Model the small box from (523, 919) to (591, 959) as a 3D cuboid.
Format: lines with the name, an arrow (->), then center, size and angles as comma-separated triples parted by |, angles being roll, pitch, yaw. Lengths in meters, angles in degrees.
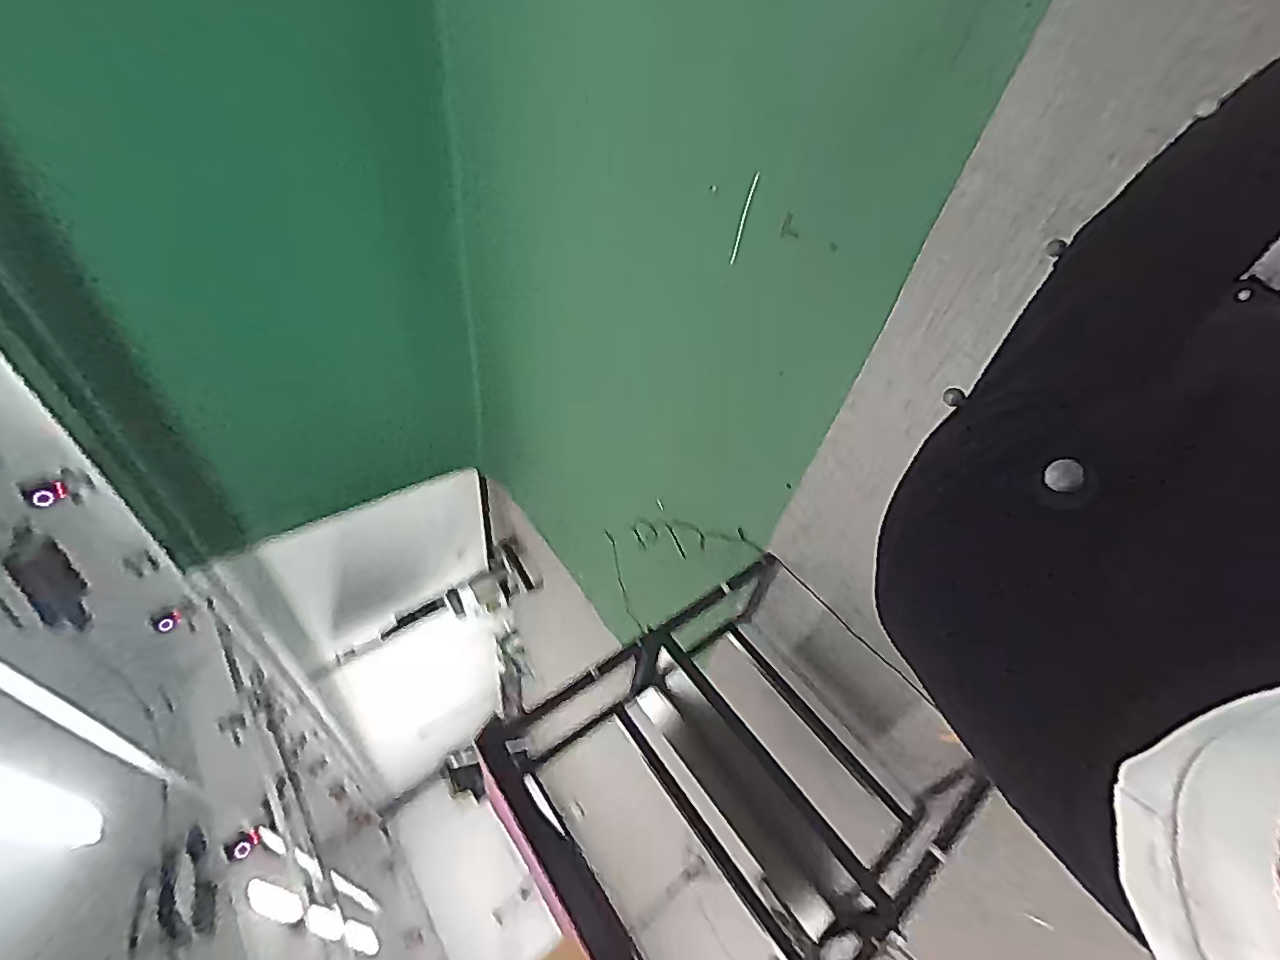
small box -> -0.224, 1.387, 1.518 | 0.179, 0.176, 0.168 | 48, 146, 26
